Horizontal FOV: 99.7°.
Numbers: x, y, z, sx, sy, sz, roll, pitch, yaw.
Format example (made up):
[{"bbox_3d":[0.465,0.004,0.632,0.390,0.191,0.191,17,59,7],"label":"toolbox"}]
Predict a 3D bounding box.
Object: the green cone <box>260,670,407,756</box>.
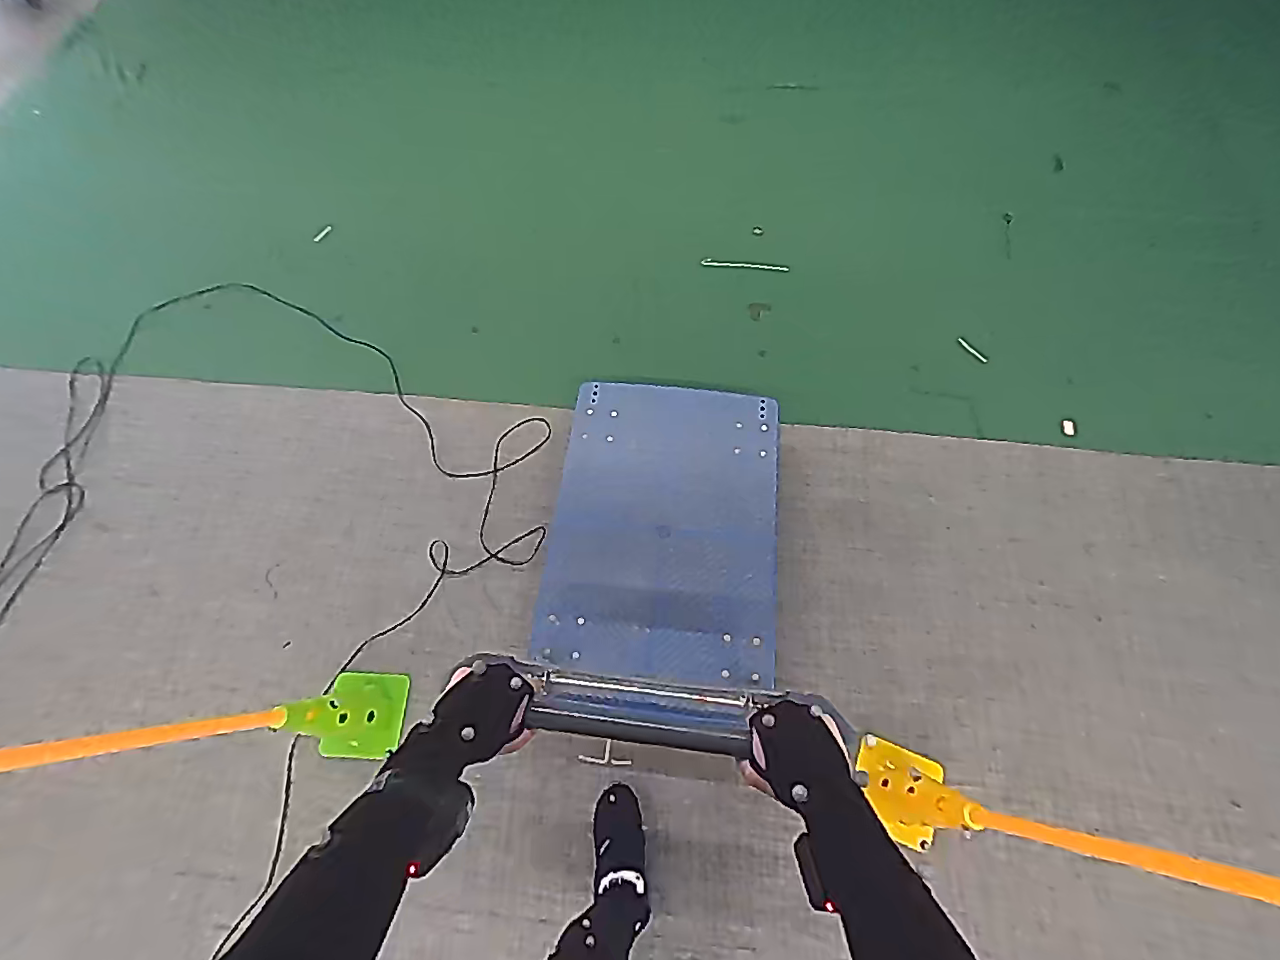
[{"bbox_3d":[-0.718,0.530,1.234,0.202,0.368,0.200,0,67,4],"label":"green cone"}]
